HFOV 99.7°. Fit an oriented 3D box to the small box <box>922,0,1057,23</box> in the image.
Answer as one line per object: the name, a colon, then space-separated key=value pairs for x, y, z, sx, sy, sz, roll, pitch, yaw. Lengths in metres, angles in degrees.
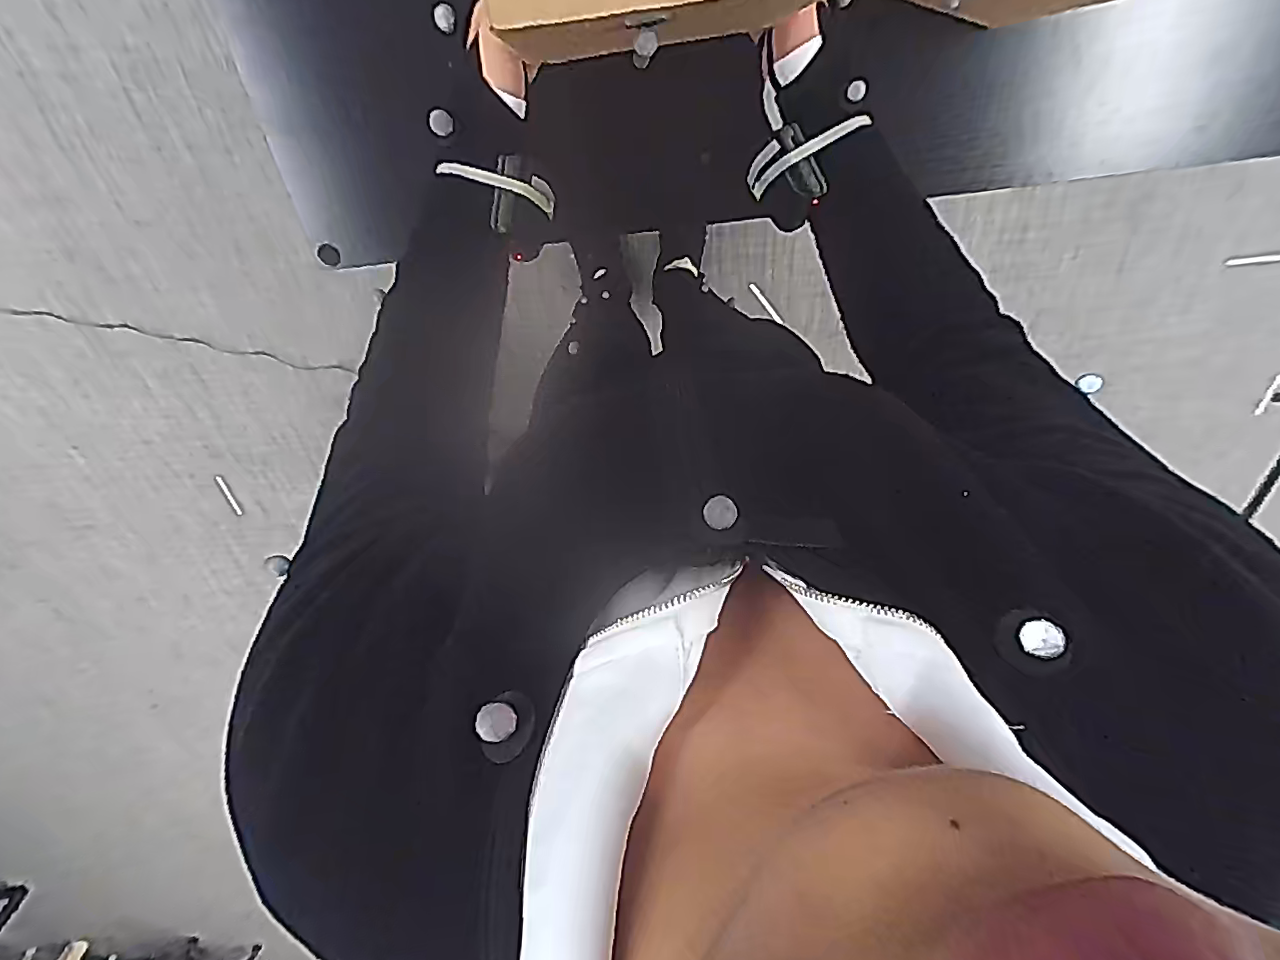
small box: x=0.280 y=-0.475 z=0.399 sx=0.168 sy=0.176 sz=0.179 roll=8 pitch=122 yaw=-10

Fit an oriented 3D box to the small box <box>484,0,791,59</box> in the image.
small box: x=0.002 y=-0.333 z=0.275 sx=0.179 sy=0.176 sz=0.168 roll=-8 pitch=124 yaw=0
